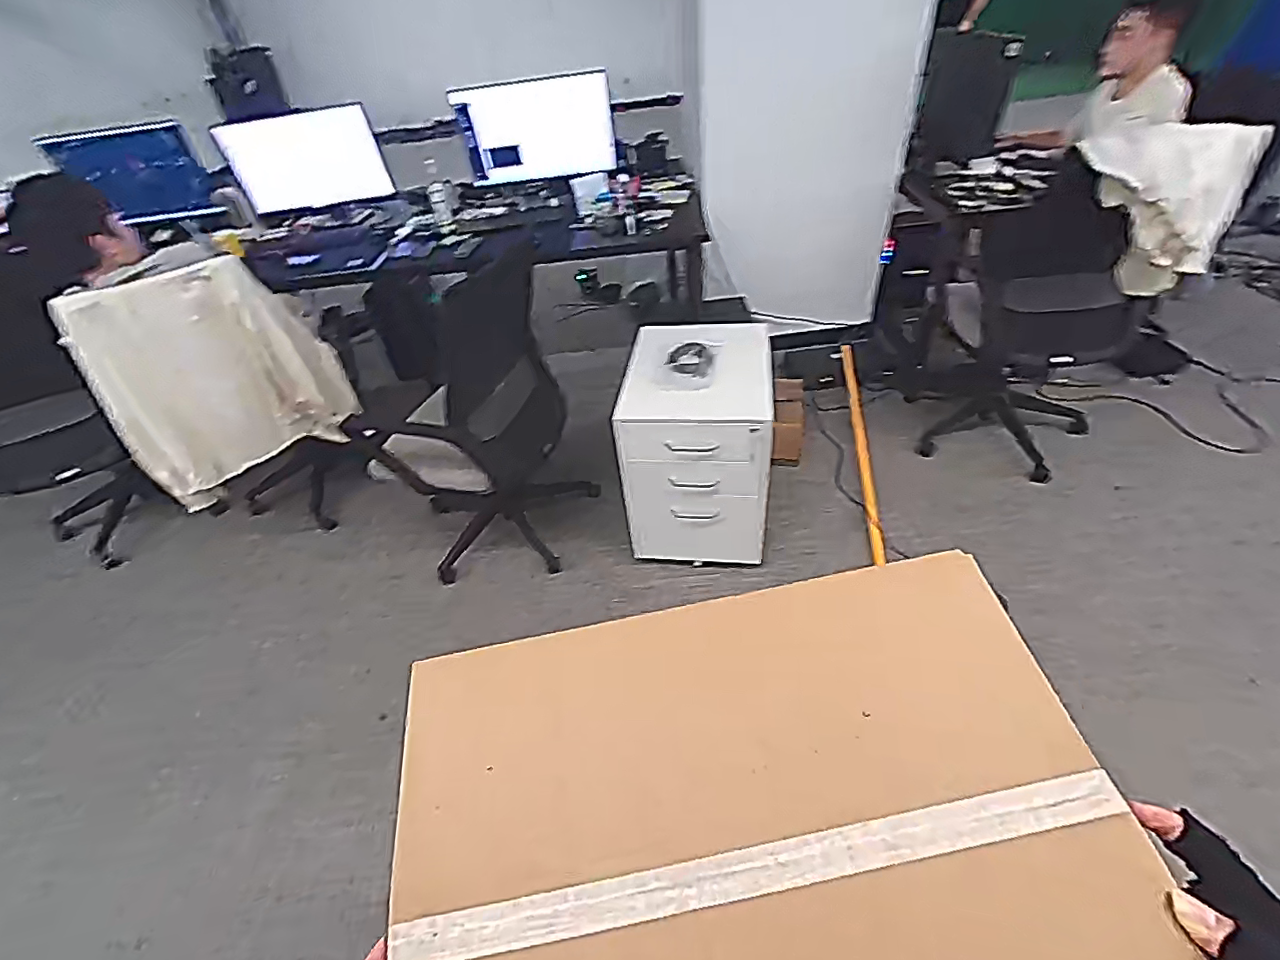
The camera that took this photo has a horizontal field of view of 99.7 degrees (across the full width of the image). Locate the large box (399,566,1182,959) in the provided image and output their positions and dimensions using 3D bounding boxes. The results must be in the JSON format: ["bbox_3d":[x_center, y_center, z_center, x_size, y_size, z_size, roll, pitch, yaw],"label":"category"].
[{"bbox_3d":[0.078,0.311,0.421,0.408,0.320,0.320,-12,52,-1],"label":"large box"}]
